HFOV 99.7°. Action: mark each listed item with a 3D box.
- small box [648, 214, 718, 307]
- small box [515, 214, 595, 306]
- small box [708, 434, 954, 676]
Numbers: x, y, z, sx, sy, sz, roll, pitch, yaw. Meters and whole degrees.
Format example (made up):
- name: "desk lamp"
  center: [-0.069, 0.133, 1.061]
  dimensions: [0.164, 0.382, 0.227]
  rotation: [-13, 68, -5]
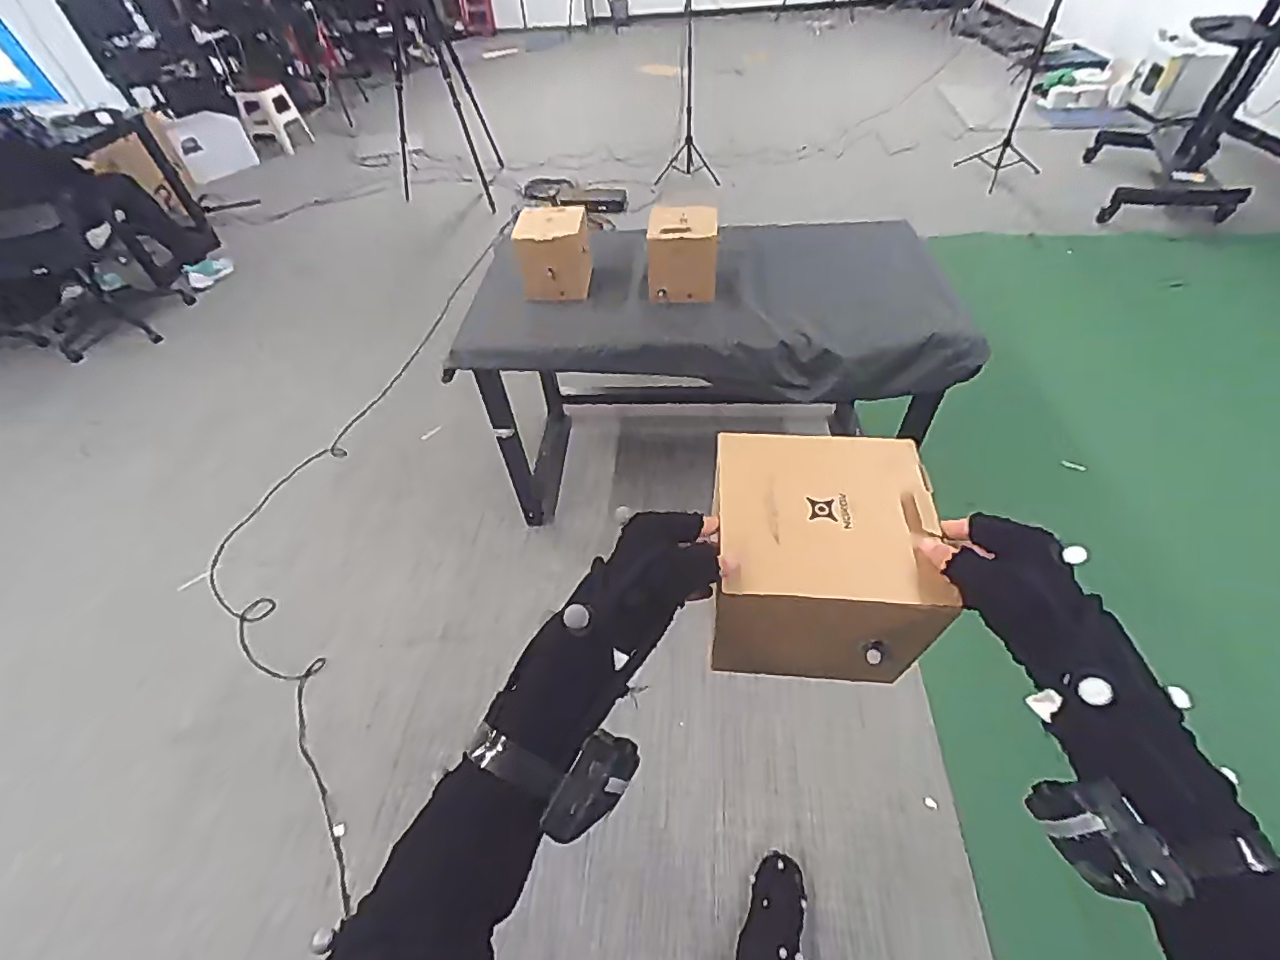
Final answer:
- name: "small box"
  center: [0.113, -0.551, 1.367]
  dimensions: [0.168, 0.176, 0.179]
  rotation: [2, 47, 7]
- name: "small box"
  center: [-0.214, -0.570, 1.415]
  dimensions: [0.168, 0.176, 0.179]
  rotation: [-1, 48, 4]
- name: "small box"
  center: [0.156, 0.074, 0.512]
  dimensions: [0.179, 0.176, 0.168]
  rotation: [1, 50, 7]
